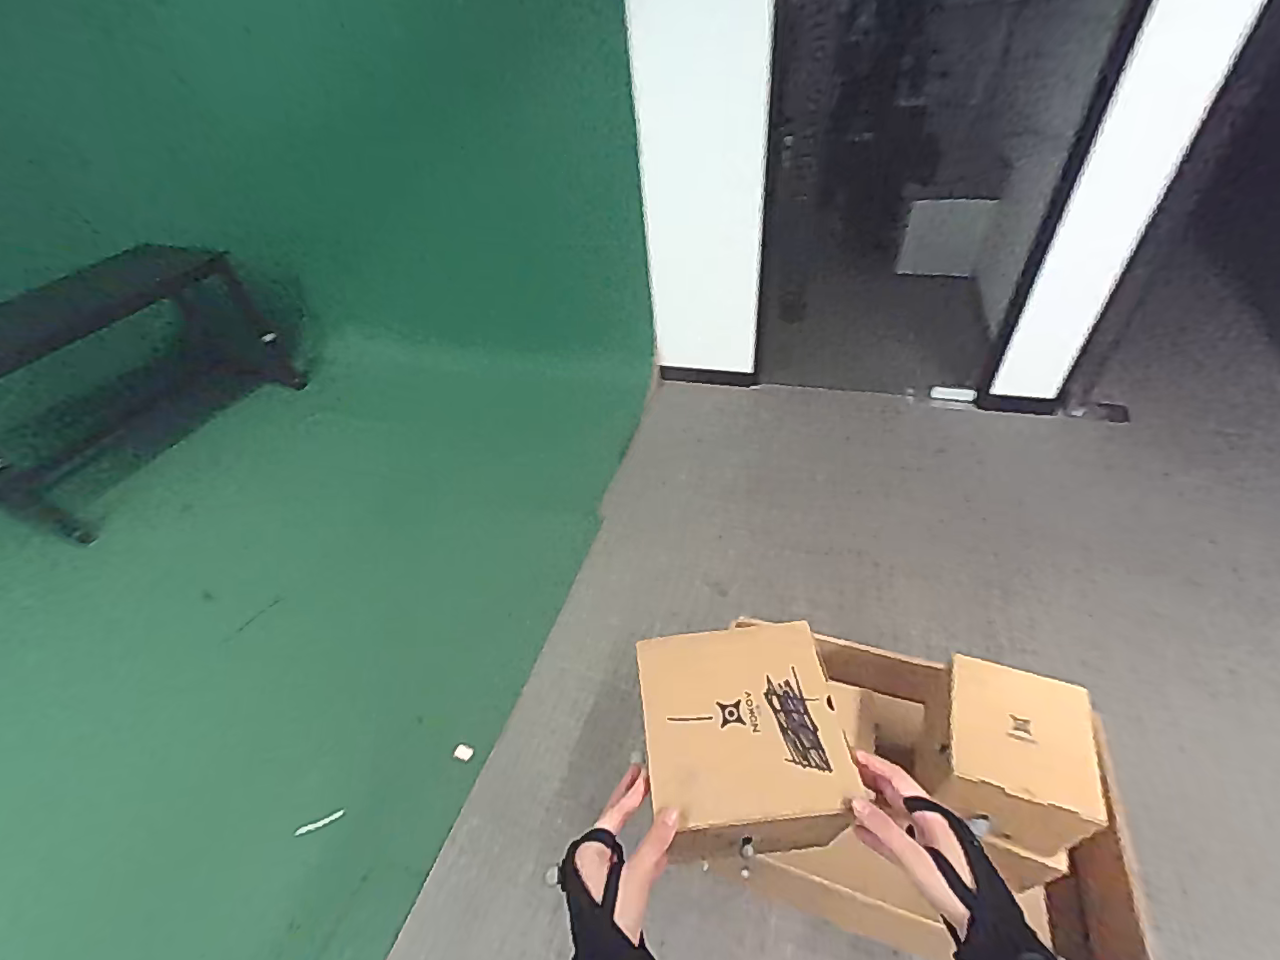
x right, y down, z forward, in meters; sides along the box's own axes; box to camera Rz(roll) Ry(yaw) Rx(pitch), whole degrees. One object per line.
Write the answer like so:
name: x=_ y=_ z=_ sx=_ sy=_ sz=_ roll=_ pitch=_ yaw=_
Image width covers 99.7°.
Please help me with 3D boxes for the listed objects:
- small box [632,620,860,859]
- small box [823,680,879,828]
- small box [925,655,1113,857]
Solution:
small box: x=0.087 y=0.260 z=0.538 sx=0.179 sy=0.176 sz=0.168 roll=-6 pitch=46 yaw=-1
small box: x=0.308 y=0.464 z=0.936 sx=0.168 sy=0.176 sz=0.179 roll=8 pitch=46 yaw=15
small box: x=0.511 y=0.383 z=0.757 sx=0.168 sy=0.176 sz=0.179 roll=12 pitch=47 yaw=21
